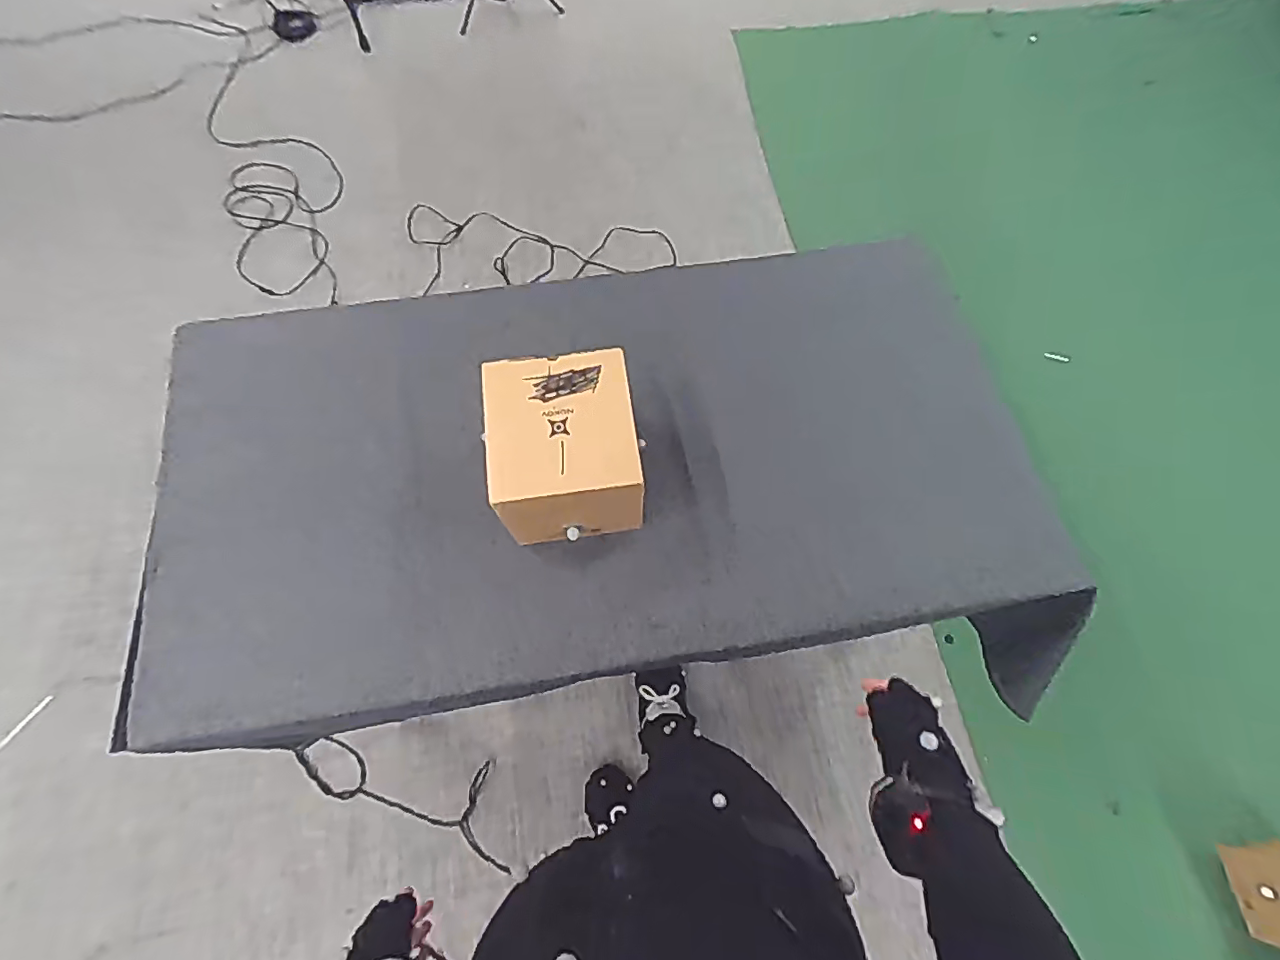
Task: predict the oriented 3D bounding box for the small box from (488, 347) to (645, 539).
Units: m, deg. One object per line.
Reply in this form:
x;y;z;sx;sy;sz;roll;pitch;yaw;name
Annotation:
-0.088;-0.039;0.675;0.168;0.176;0.179;-7;68;-3;small box

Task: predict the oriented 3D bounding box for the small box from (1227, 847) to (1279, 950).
1.377;0.868;1.103;0.179;0.176;0.168;-3;67;-2;small box
